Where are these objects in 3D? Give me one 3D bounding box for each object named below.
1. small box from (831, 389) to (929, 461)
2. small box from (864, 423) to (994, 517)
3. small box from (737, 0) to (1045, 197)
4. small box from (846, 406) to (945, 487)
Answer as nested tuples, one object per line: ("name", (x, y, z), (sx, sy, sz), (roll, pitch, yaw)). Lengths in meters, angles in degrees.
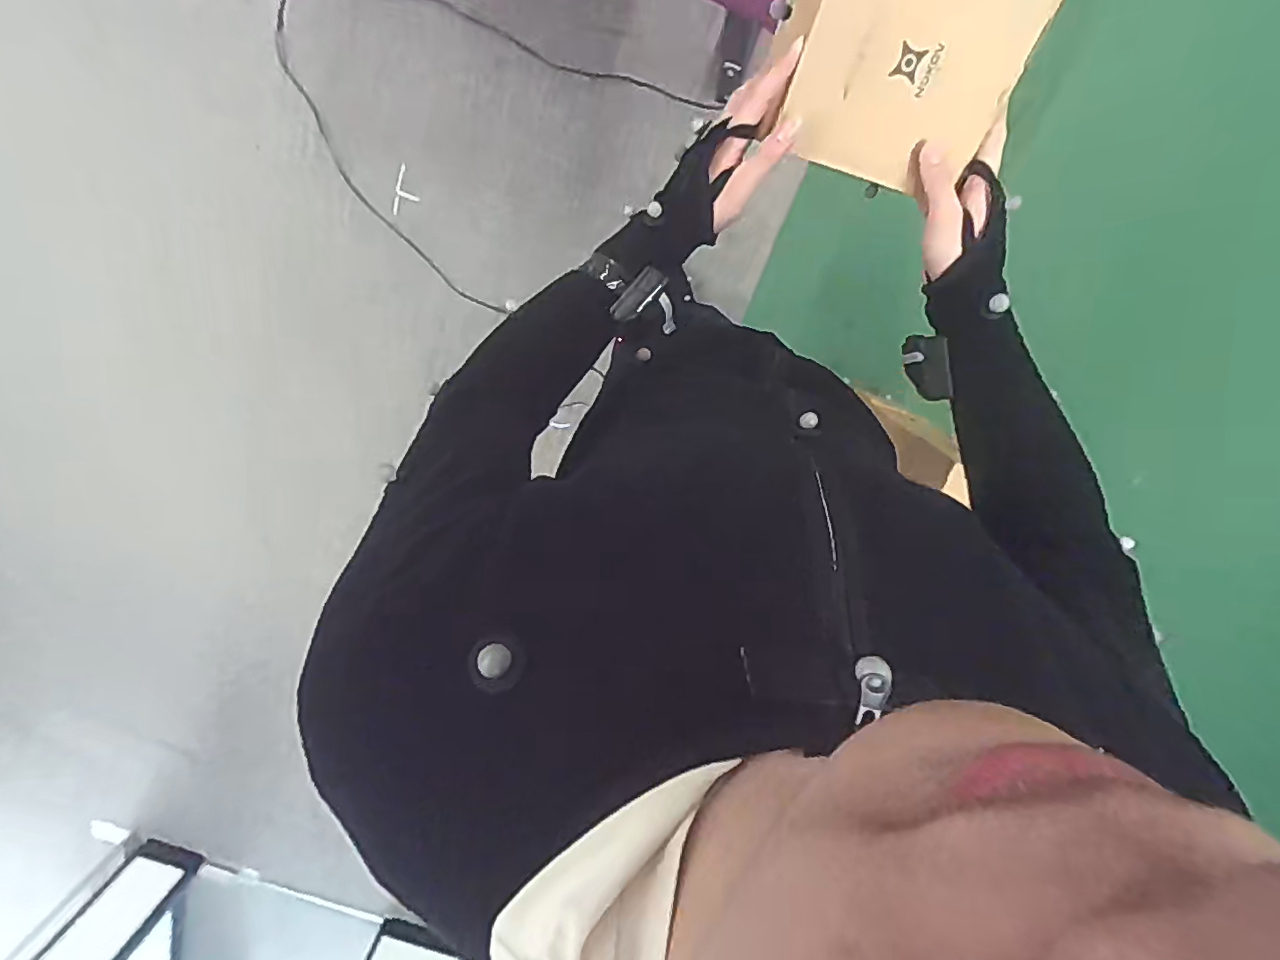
("small box", (0.650, -0.130, 1.495), (0.168, 0.176, 0.179), (22, 111, -3))
("small box", (0.623, -0.010, 1.193), (0.168, 0.176, 0.179), (18, 112, -1))
("small box", (0.204, -0.379, 0.485), (0.179, 0.176, 0.168), (13, 125, -8))
("small box", (0.635, -0.066, 1.347), (0.168, 0.176, 0.179), (19, 111, -2))
